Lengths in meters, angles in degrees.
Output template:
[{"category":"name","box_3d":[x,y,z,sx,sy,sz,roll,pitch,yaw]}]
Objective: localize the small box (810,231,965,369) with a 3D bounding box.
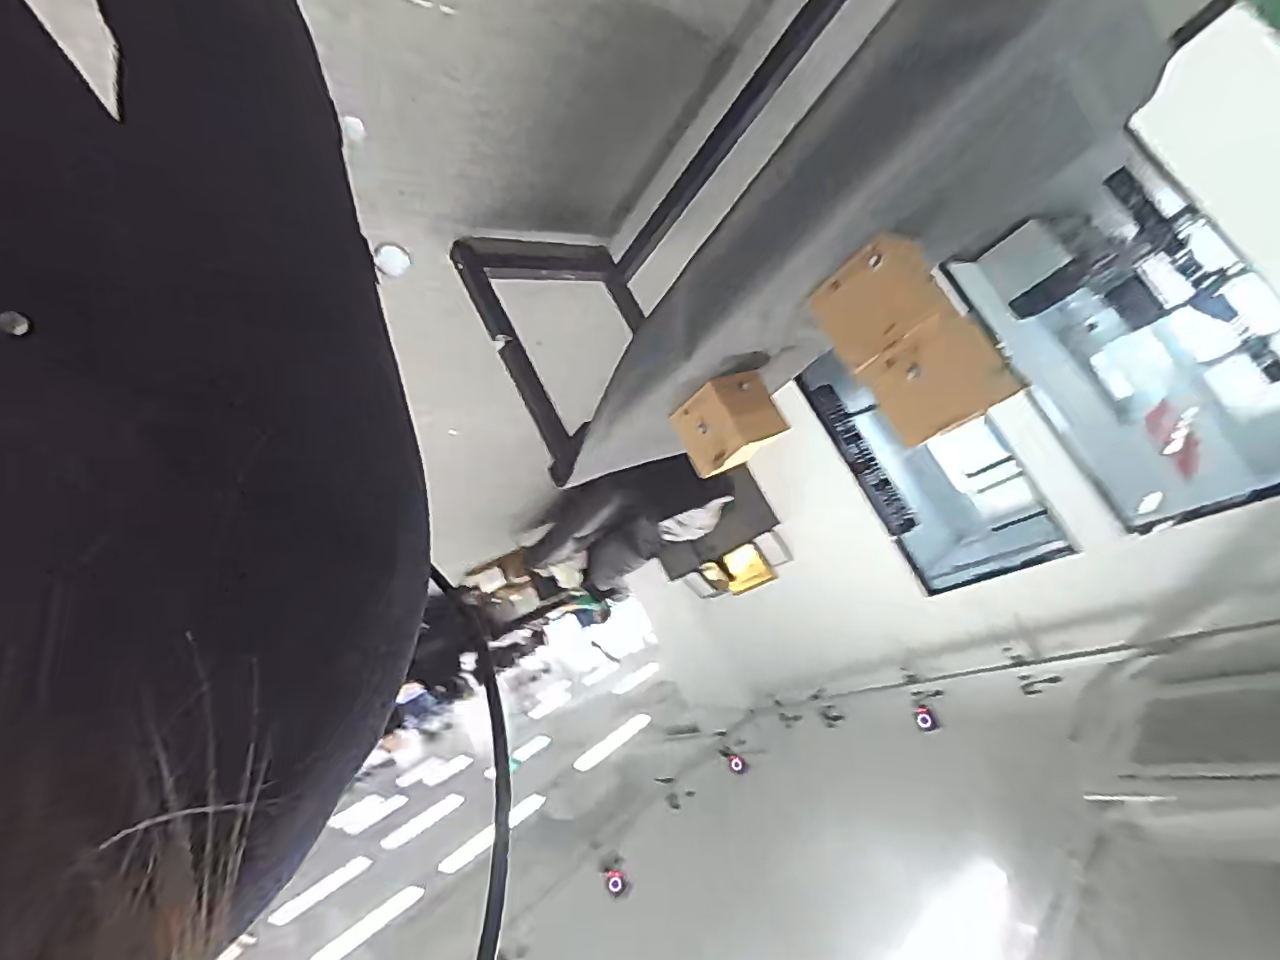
[{"category":"small box","box_3d":[0.440,-0.322,0.974,0.179,0.176,0.168,-19,166,-45]}]

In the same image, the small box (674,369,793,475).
[{"category":"small box","box_3d":[0.211,-0.138,1.255,0.179,0.176,0.168,-19,166,-39]}]

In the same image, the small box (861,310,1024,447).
[{"category":"small box","box_3d":[0.530,-0.184,0.954,0.179,0.176,0.168,-19,165,-43]}]
